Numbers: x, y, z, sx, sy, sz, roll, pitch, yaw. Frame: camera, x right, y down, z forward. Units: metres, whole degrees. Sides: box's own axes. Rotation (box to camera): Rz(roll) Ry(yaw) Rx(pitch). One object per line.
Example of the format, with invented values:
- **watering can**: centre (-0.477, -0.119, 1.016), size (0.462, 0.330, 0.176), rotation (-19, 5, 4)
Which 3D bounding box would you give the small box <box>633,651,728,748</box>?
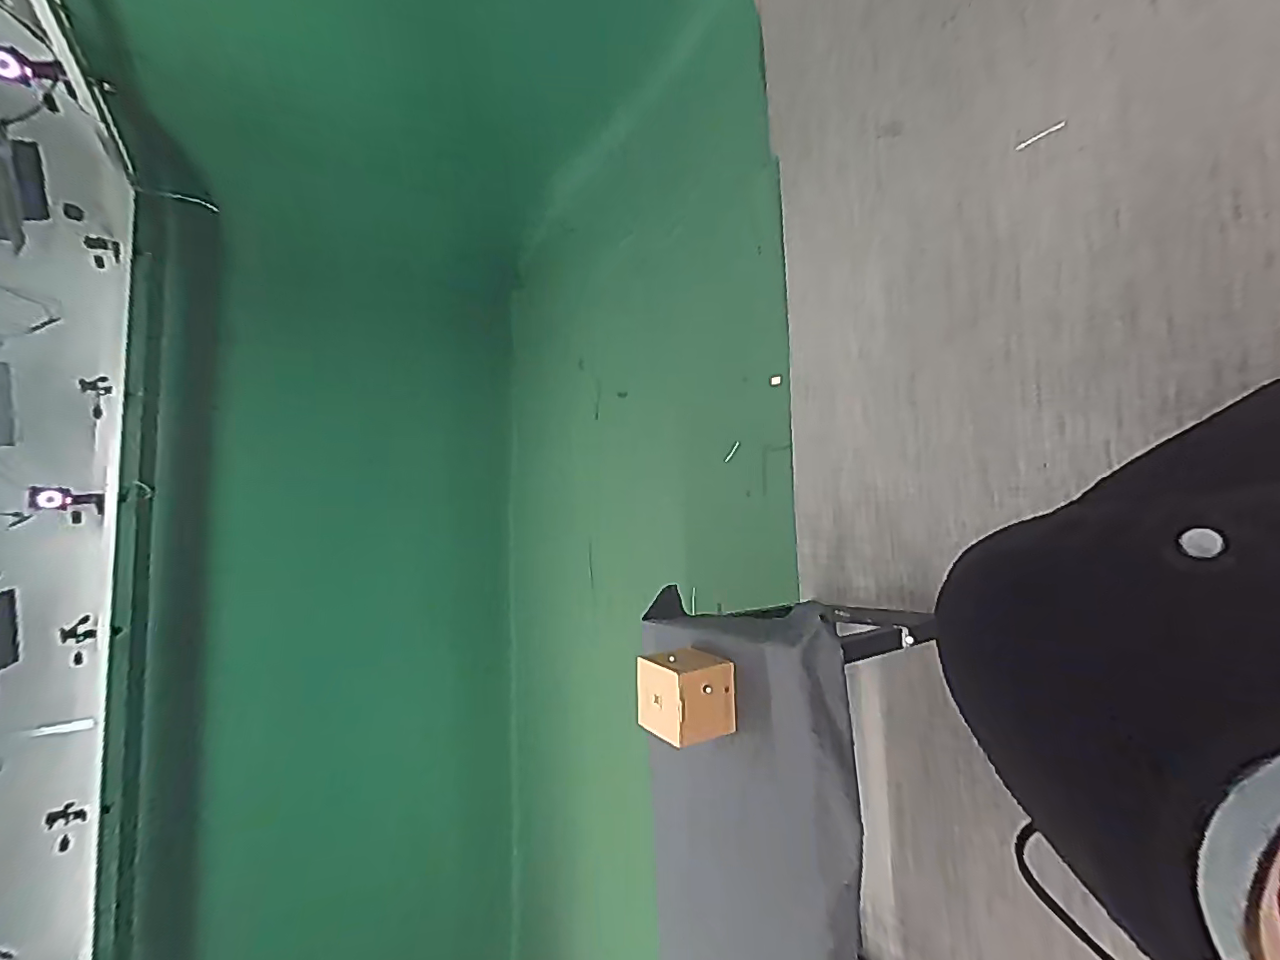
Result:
- **small box**: centre (0.099, 0.518, 1.306), size (0.179, 0.176, 0.168), rotation (-7, 81, 58)
